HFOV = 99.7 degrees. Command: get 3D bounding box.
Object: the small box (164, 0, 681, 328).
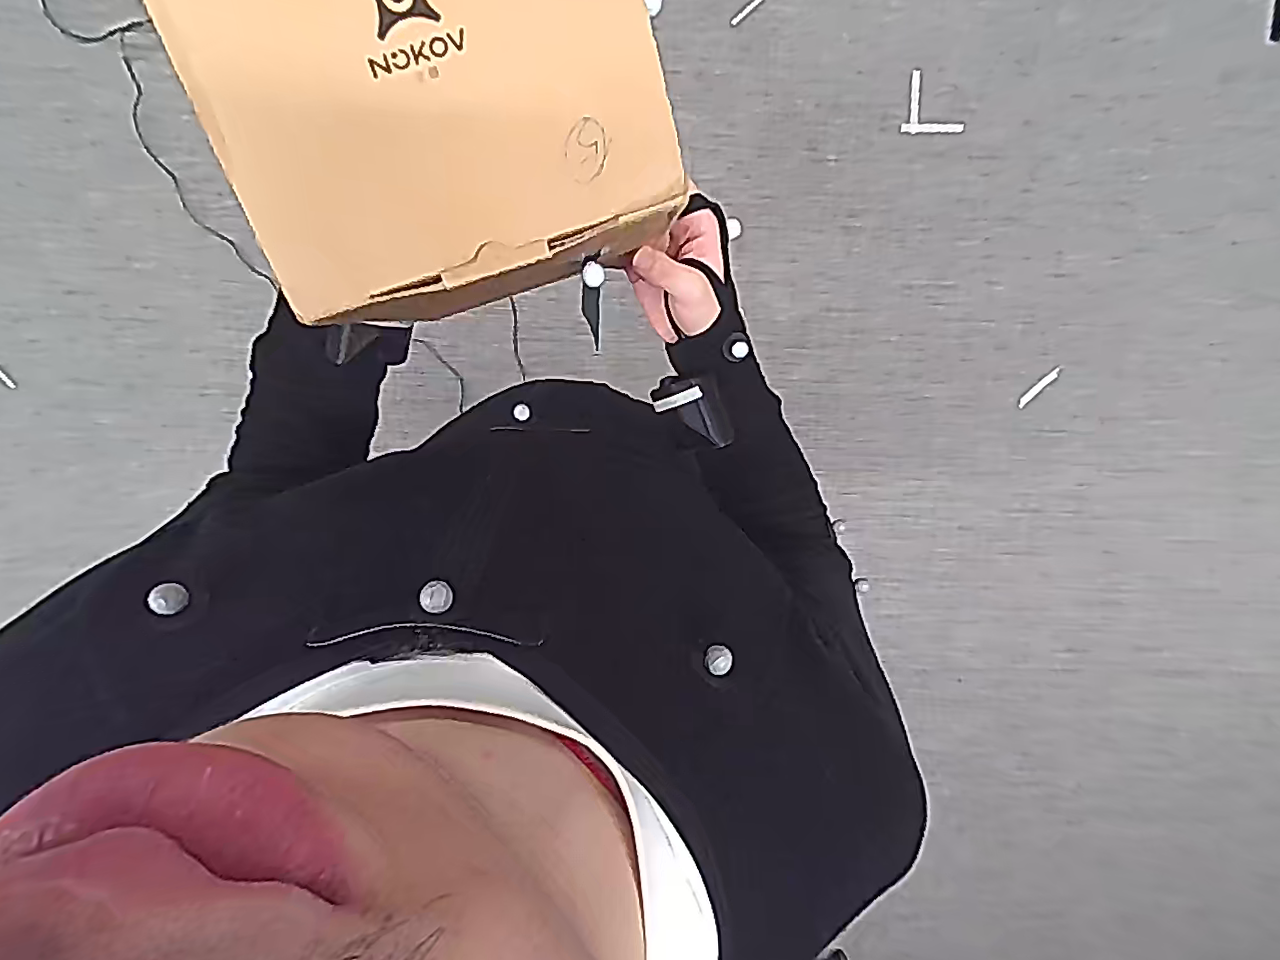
[{"bbox_3d":[-0.087,-0.190,0.277,0.168,0.176,0.179,-18,106,2],"label":"small box"}]
